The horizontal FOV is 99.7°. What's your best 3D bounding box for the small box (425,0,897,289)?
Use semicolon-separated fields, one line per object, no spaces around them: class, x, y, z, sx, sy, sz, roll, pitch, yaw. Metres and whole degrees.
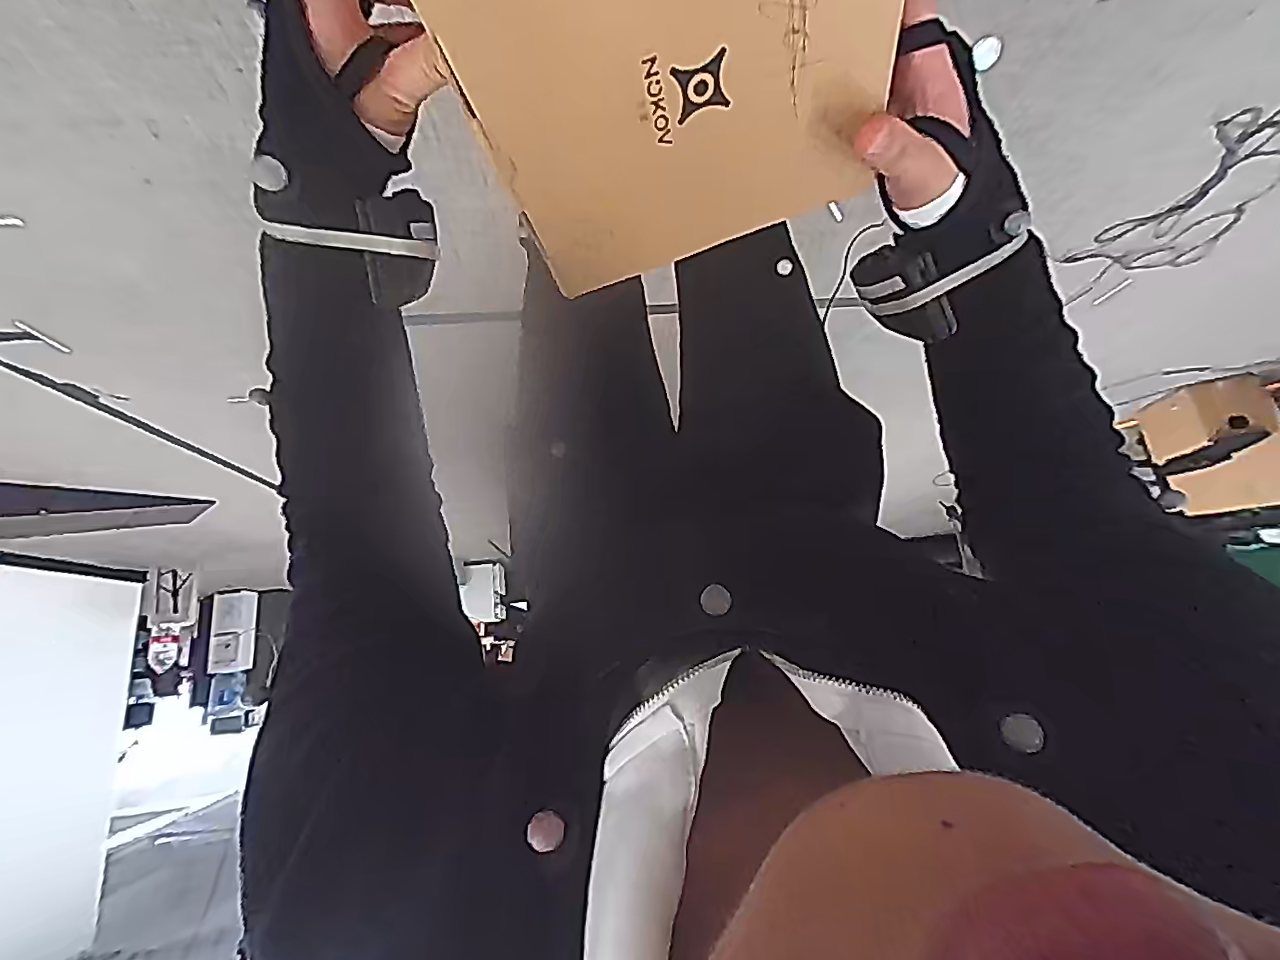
small box;0.005;-0.238;0.267;0.179;0.176;0.168;-19;155;7
